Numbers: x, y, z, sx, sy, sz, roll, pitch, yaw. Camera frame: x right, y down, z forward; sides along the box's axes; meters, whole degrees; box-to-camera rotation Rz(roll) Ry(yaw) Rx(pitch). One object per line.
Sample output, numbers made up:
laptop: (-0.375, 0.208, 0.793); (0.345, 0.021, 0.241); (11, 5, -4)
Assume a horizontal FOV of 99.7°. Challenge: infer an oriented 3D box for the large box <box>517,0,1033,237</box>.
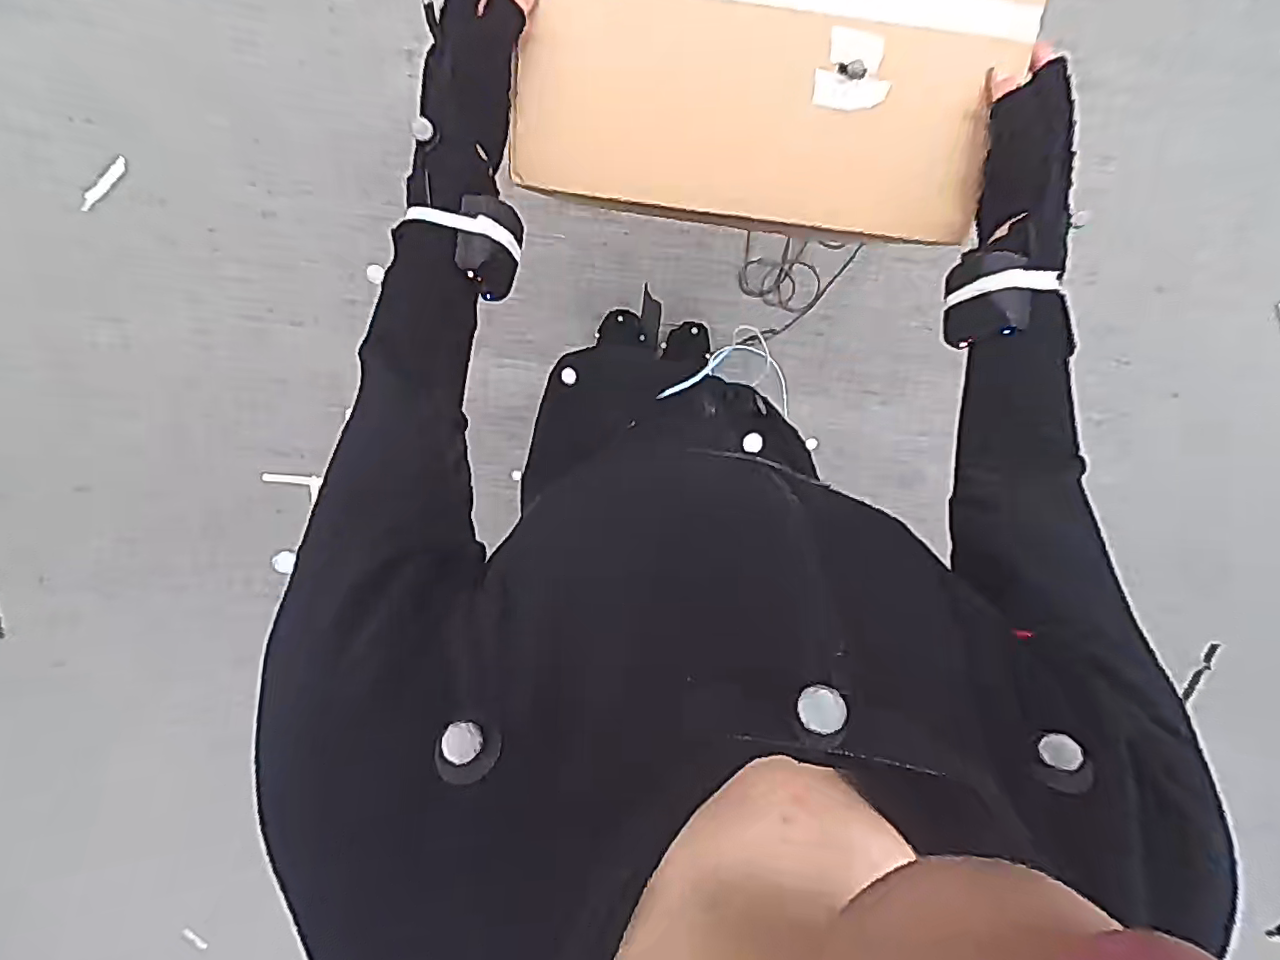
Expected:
large box: (0.103, -0.438, 0.551); (0.408, 0.320, 0.320); (6, 115, -4)
